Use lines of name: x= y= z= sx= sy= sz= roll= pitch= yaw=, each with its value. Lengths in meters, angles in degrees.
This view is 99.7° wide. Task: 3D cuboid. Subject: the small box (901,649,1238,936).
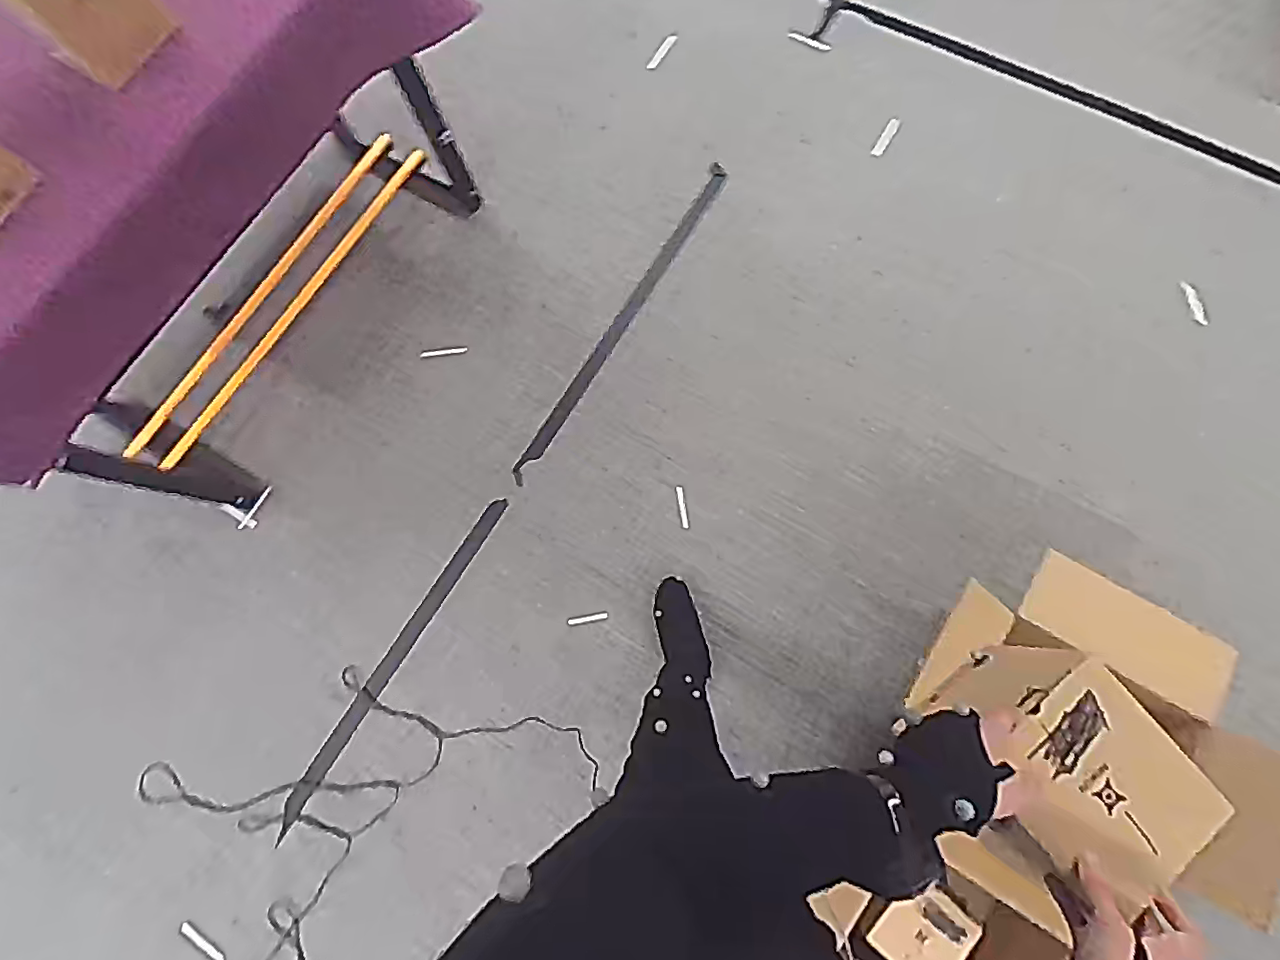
small box: x=0.416 y=0.295 z=0.562 sx=0.168 sy=0.176 sz=0.179 roll=-36 pitch=79 yaw=-9

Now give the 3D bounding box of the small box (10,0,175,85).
small box: x=-0.952 y=-0.834 z=0.916 sx=0.168 sy=0.176 sz=0.179 roll=34 pitch=83 yaw=9

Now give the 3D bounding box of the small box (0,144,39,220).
small box: x=-1.145 y=-0.518 z=0.857 sx=0.179 sy=0.176 sz=0.168 roll=29 pitch=81 yaw=9
